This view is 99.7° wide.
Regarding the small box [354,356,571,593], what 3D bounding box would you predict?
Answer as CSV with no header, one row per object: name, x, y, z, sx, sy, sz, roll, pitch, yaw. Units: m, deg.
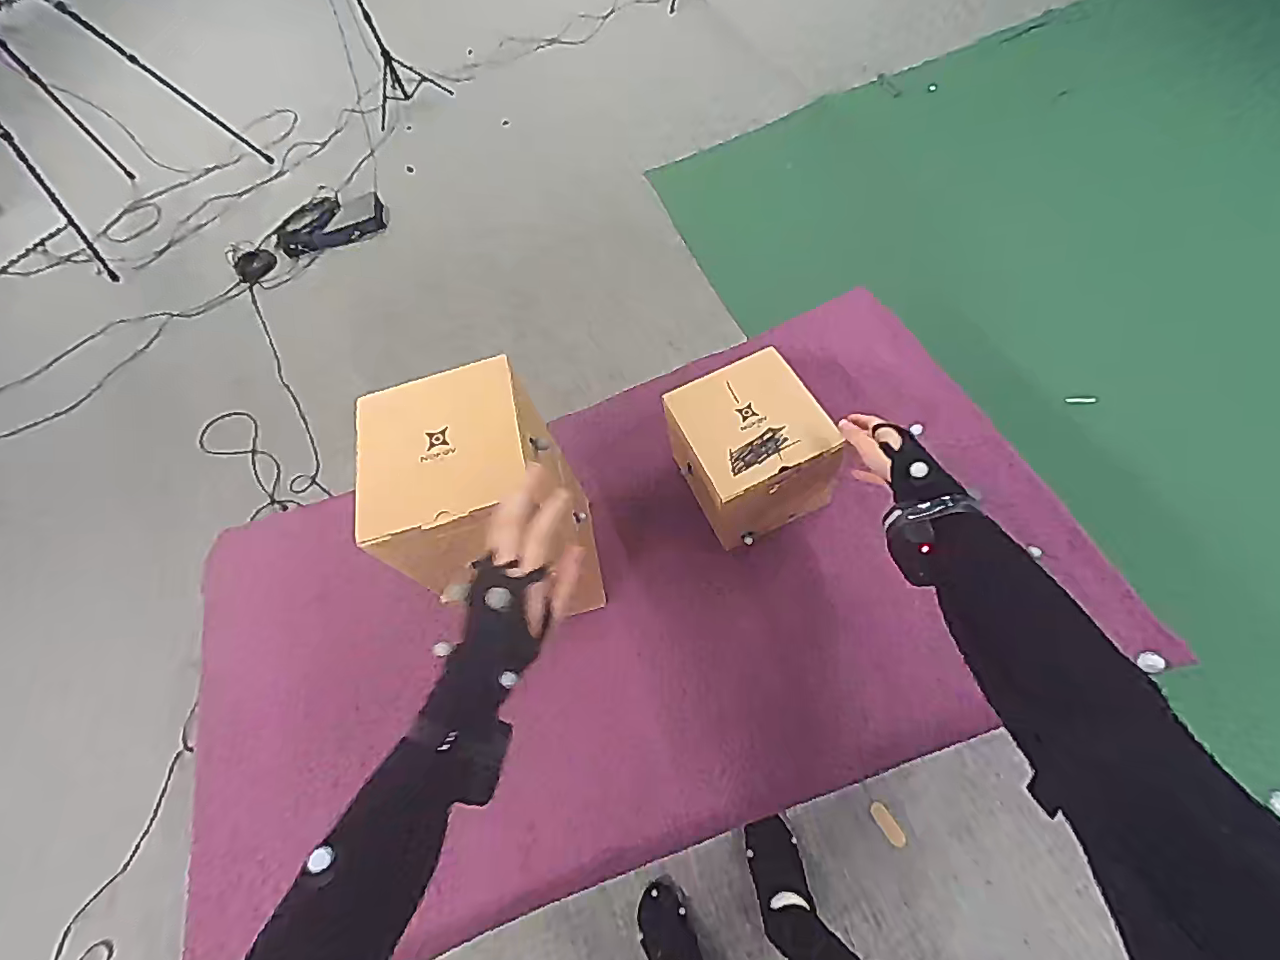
small box,-0.183,0.001,0.589,0.168,0.176,0.179,-16,61,0

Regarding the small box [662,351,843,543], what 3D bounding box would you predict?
small box,0.147,-0.034,0.733,0.168,0.176,0.179,-24,59,-3

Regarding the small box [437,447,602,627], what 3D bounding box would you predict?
small box,-0.155,0.087,0.724,0.168,0.176,0.179,-13,60,2
